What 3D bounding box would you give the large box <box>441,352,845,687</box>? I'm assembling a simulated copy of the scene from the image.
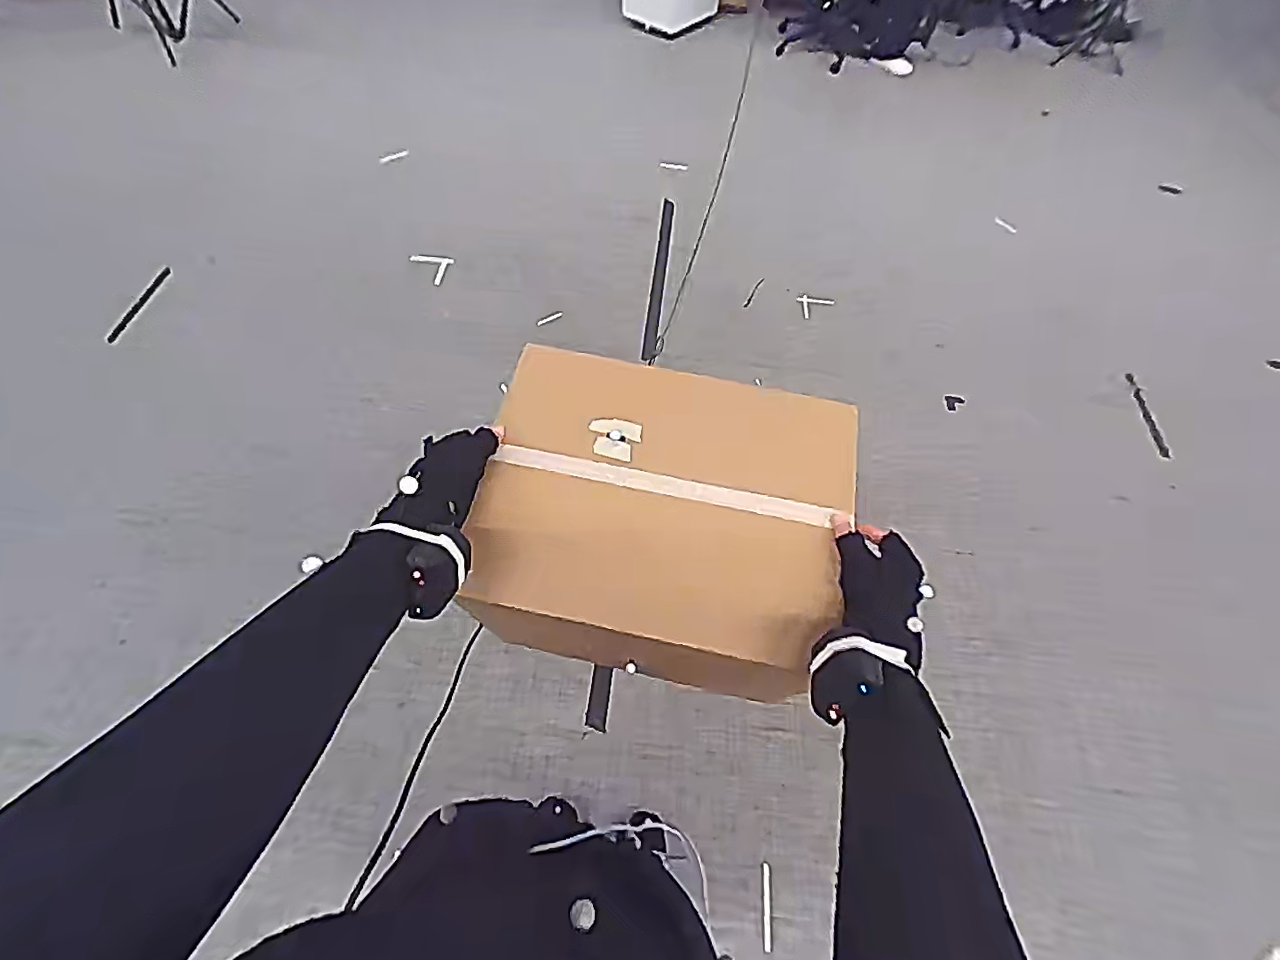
[{"bbox_3d":[0.022,0.072,0.727,0.408,0.320,0.320,11,64,5],"label":"large box"}]
